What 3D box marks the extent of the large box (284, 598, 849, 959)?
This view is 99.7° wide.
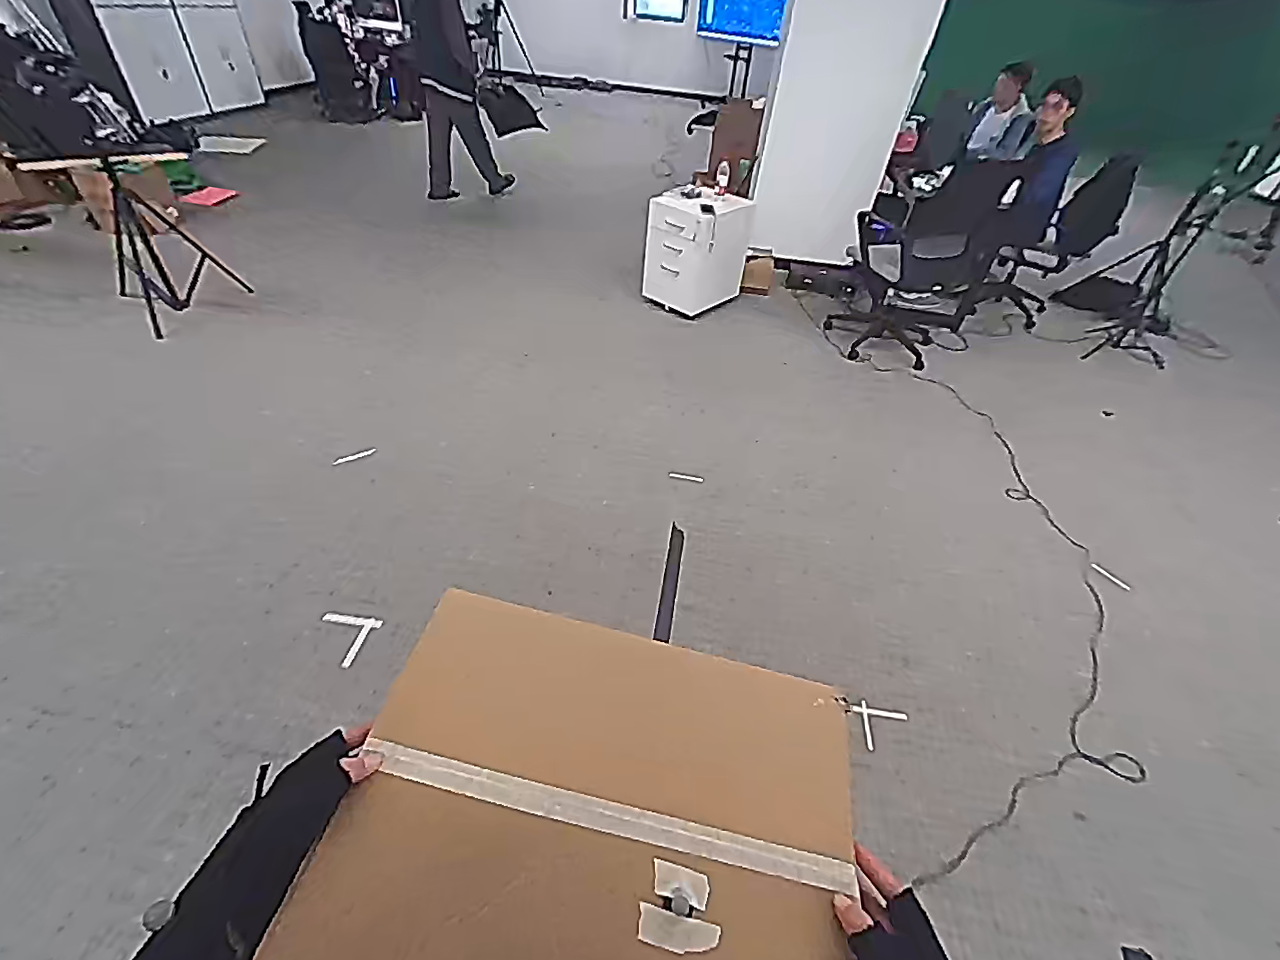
[{"bbox_3d":[-0.047,0.371,0.558,0.408,0.320,0.320,14,48,1],"label":"large box"}]
